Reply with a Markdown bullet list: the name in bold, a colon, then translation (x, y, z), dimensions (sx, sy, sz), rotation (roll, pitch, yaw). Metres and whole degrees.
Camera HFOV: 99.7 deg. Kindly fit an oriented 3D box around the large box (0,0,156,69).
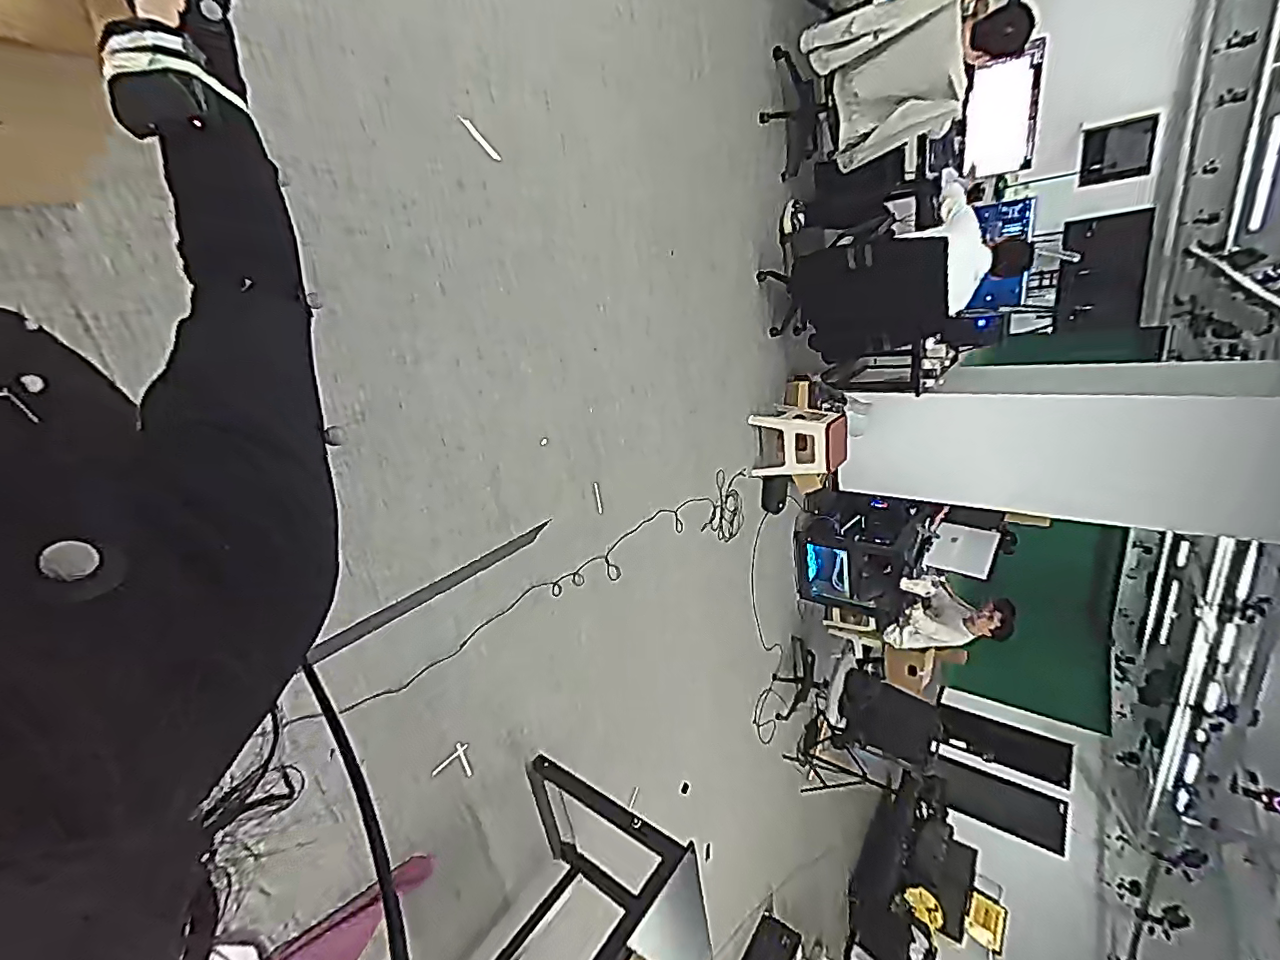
- **large box**: translation (-0.621, -0.479, 0.311), dimensions (0.408, 0.320, 0.320), rotation (-26, 130, -47)
